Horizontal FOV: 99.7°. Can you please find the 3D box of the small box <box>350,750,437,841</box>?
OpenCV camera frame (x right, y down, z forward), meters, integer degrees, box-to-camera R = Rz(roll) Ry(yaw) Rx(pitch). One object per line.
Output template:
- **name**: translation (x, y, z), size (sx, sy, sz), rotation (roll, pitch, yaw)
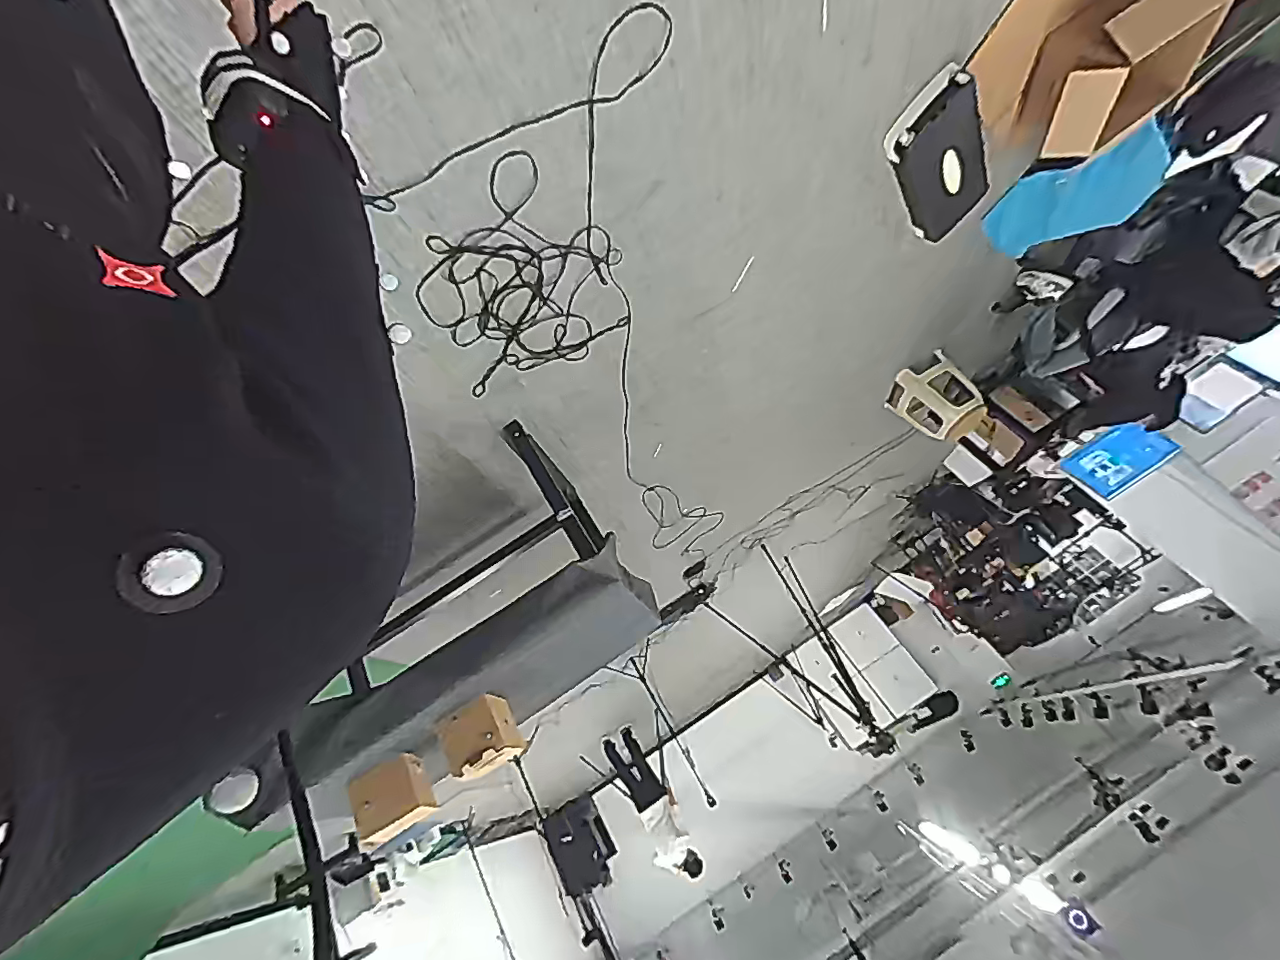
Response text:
- **small box**: translation (-0.743, 0.946, 1.621), size (0.179, 0.176, 0.168), rotation (-28, 151, -16)
